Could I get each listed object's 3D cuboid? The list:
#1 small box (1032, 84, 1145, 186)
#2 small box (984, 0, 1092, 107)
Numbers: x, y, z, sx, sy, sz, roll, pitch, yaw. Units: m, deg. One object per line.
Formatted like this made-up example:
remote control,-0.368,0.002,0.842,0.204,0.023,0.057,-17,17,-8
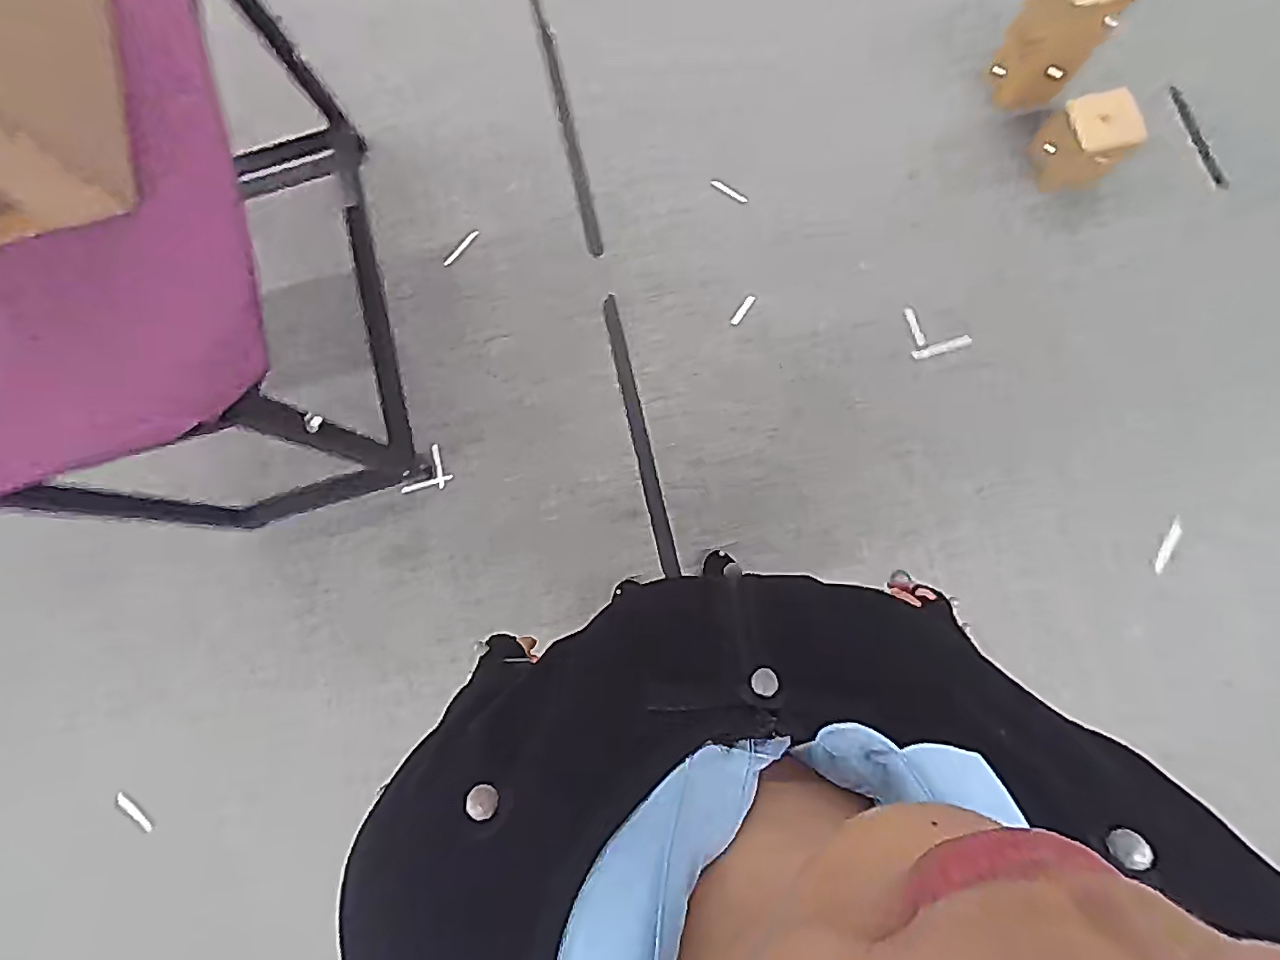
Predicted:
small box,1.271,-0.981,1.553,0.179,0.176,0.168,-11,81,2
small box,1.174,-1.259,1.607,0.179,0.176,0.168,-12,80,2
